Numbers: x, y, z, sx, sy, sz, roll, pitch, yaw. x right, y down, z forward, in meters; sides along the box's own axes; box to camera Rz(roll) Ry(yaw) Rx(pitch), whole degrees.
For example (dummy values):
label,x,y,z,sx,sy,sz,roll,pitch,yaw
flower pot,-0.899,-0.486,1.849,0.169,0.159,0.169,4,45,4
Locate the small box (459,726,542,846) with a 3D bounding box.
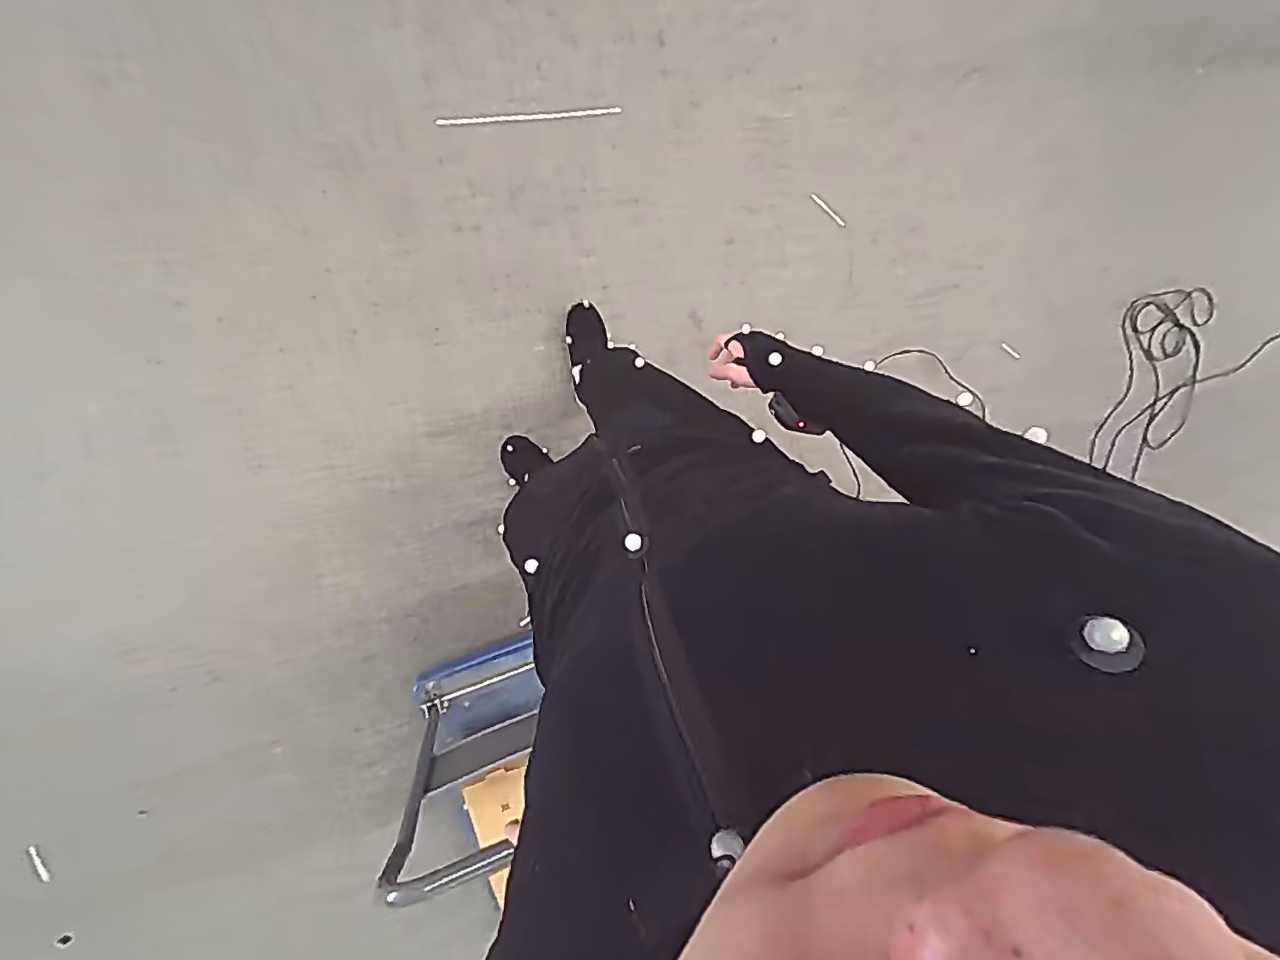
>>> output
label,x,y,z,sx,sy,sz,roll,pitch,yaw
small box,-0.352,0.769,1.377,0.168,0.176,0.179,-15,101,-13
